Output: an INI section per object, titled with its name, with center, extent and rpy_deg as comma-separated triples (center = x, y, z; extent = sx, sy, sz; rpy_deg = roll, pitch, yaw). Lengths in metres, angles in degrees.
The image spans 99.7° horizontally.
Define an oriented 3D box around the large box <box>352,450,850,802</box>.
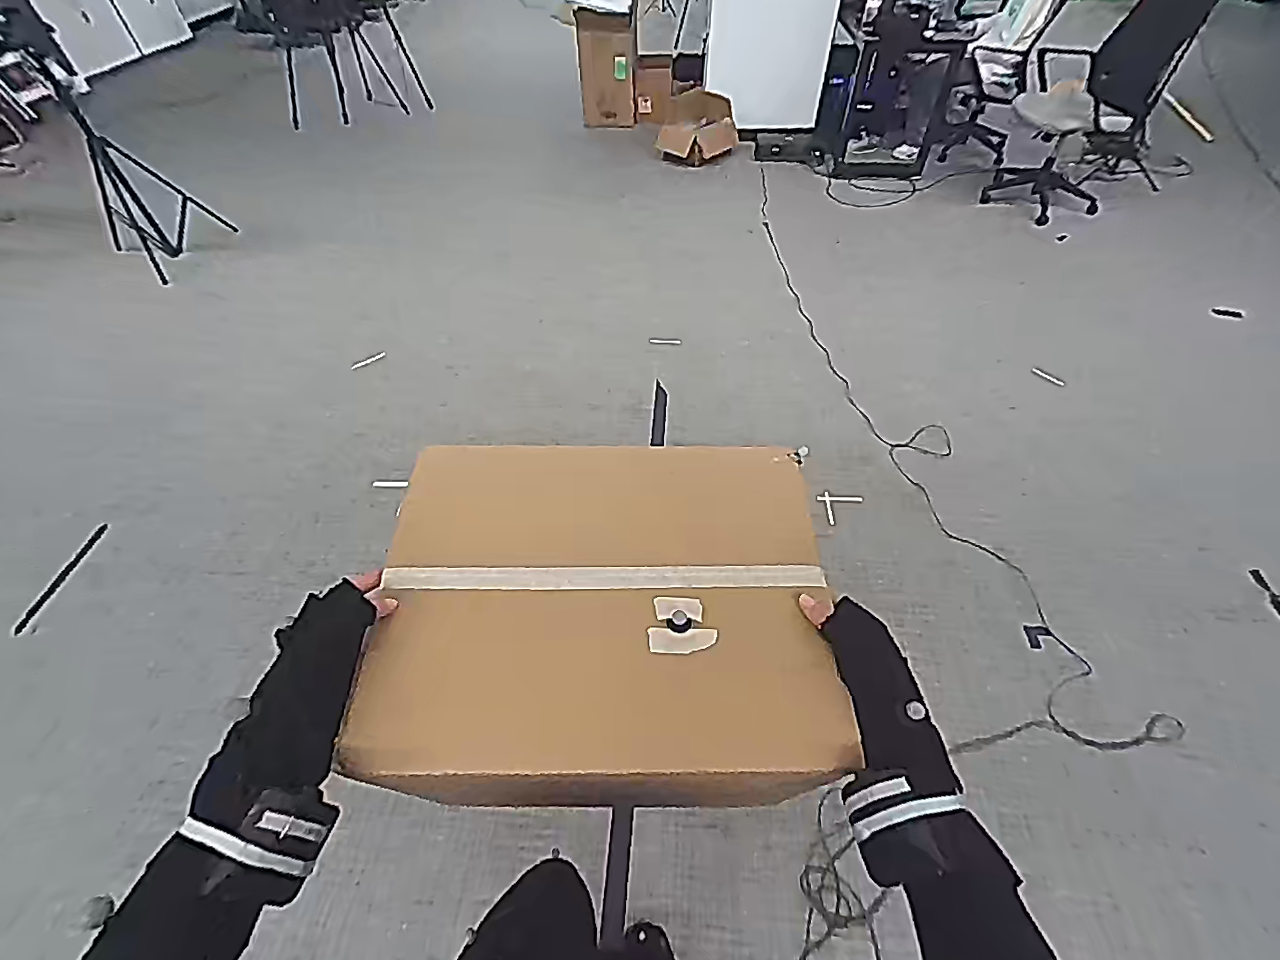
[large box]
center = -0.035, 0.178, 0.631
extent = 0.408, 0.320, 0.320
rpy_deg = 1, 55, -1
